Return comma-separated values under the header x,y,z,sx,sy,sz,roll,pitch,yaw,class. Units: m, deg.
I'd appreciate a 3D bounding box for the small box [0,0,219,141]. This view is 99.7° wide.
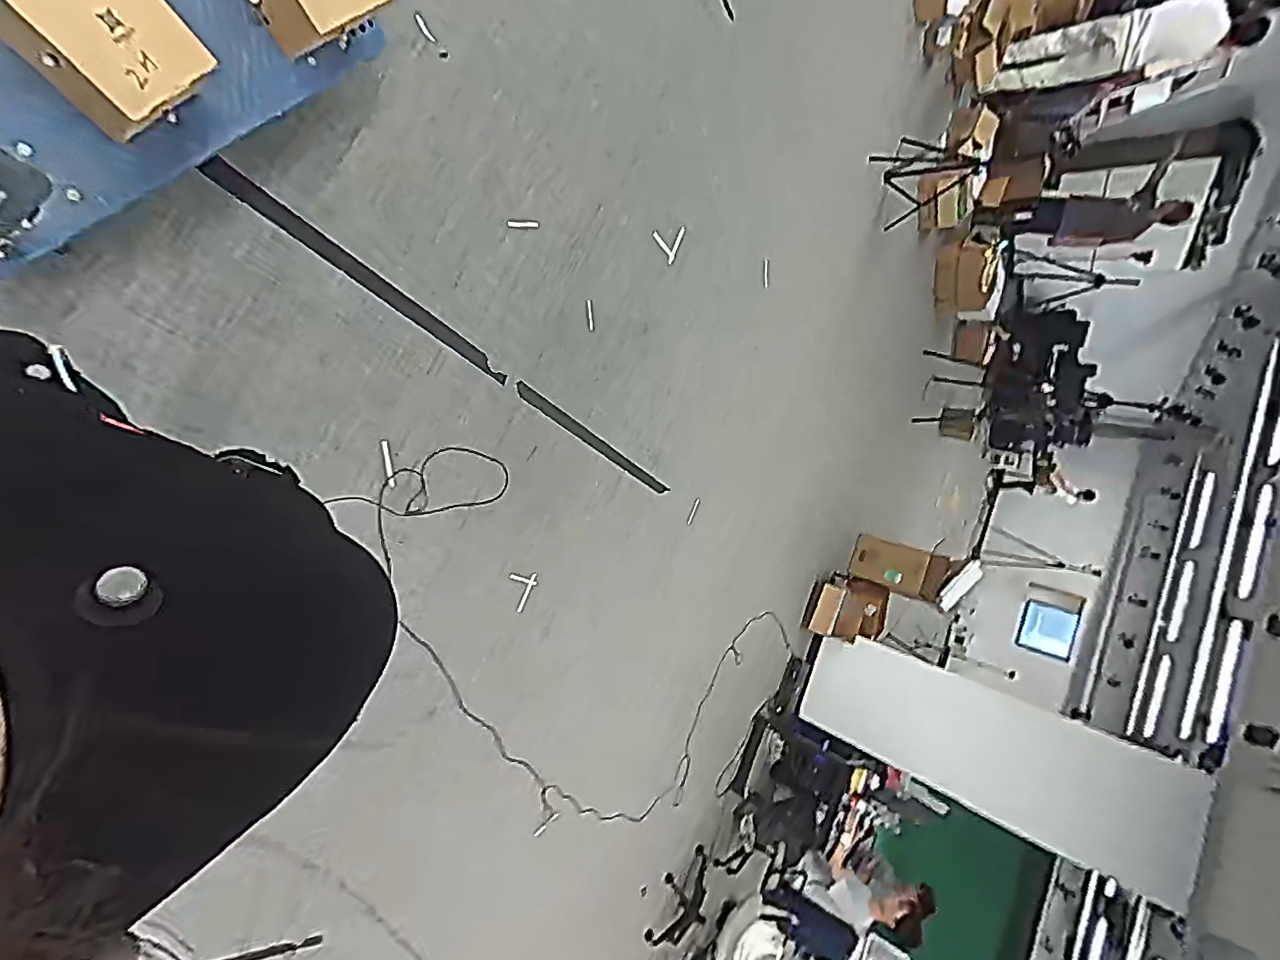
x,y,z,sx,sy,sz,roll,pitch,yaw,class
-0.800,-0.652,0.814,0.168,0.176,0.179,-58,138,-20,small box

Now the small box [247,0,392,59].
x,y,z,sx,sy,sz,roll,pitch,yaw,class
-0.600,-0.904,0.974,0.179,0.176,0.168,-53,136,-24,small box
